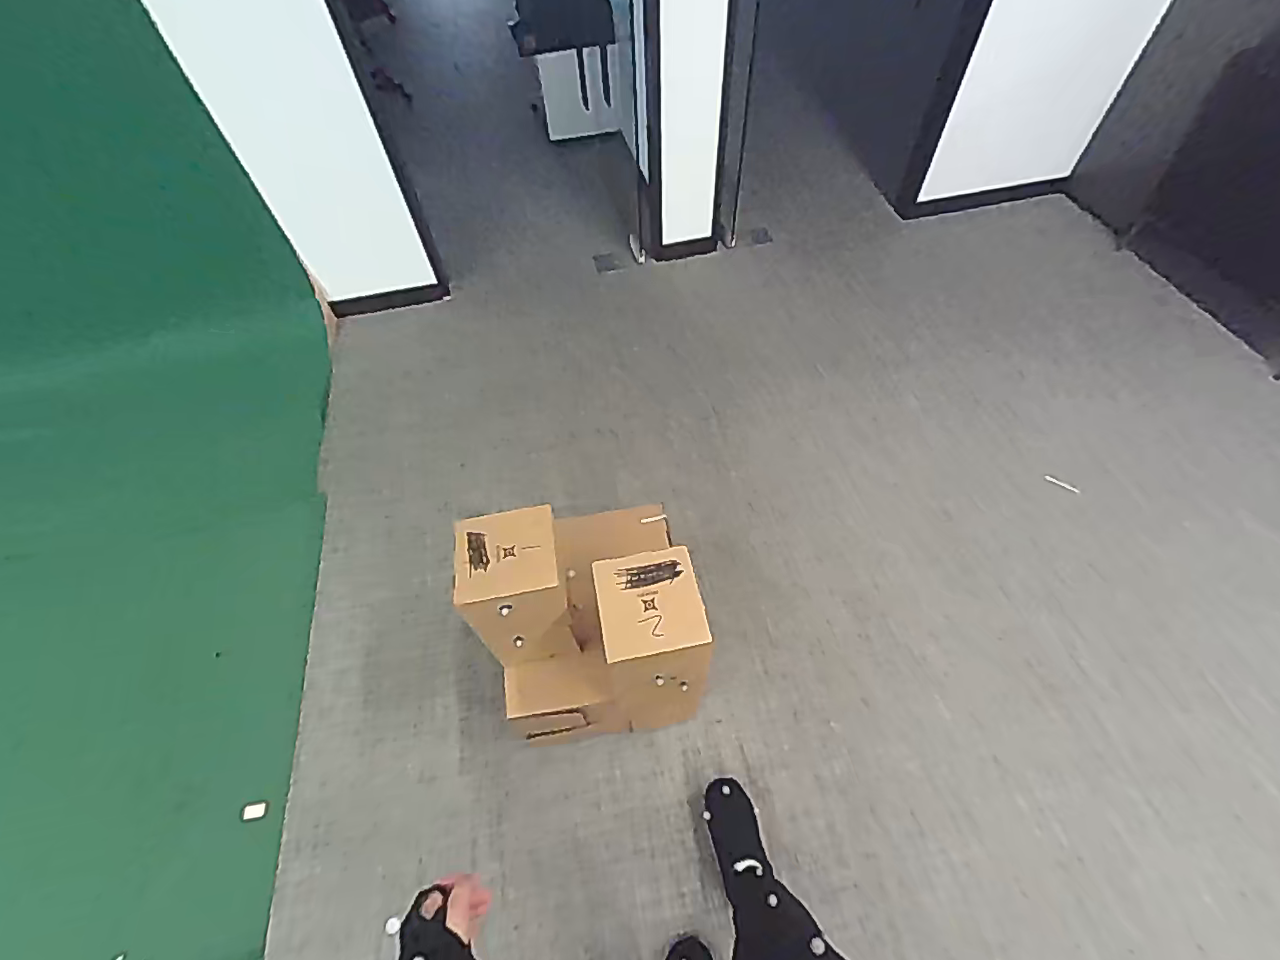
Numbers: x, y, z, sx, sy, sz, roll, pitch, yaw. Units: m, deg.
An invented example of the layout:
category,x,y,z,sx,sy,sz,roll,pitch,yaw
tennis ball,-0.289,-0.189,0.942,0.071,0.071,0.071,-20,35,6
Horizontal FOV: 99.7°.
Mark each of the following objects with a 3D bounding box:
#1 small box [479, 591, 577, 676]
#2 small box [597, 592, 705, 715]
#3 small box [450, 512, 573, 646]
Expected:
category,x,y,z,sx,sy,sz,roll,pitch,yaw
small box,-0.228,0.282,1.119,0.168,0.176,0.179,-10,53,-4
small box,0.019,0.342,1.061,0.179,0.176,0.168,-11,54,-5
small box,-0.229,0.185,0.983,0.179,0.176,0.168,-11,54,-3
